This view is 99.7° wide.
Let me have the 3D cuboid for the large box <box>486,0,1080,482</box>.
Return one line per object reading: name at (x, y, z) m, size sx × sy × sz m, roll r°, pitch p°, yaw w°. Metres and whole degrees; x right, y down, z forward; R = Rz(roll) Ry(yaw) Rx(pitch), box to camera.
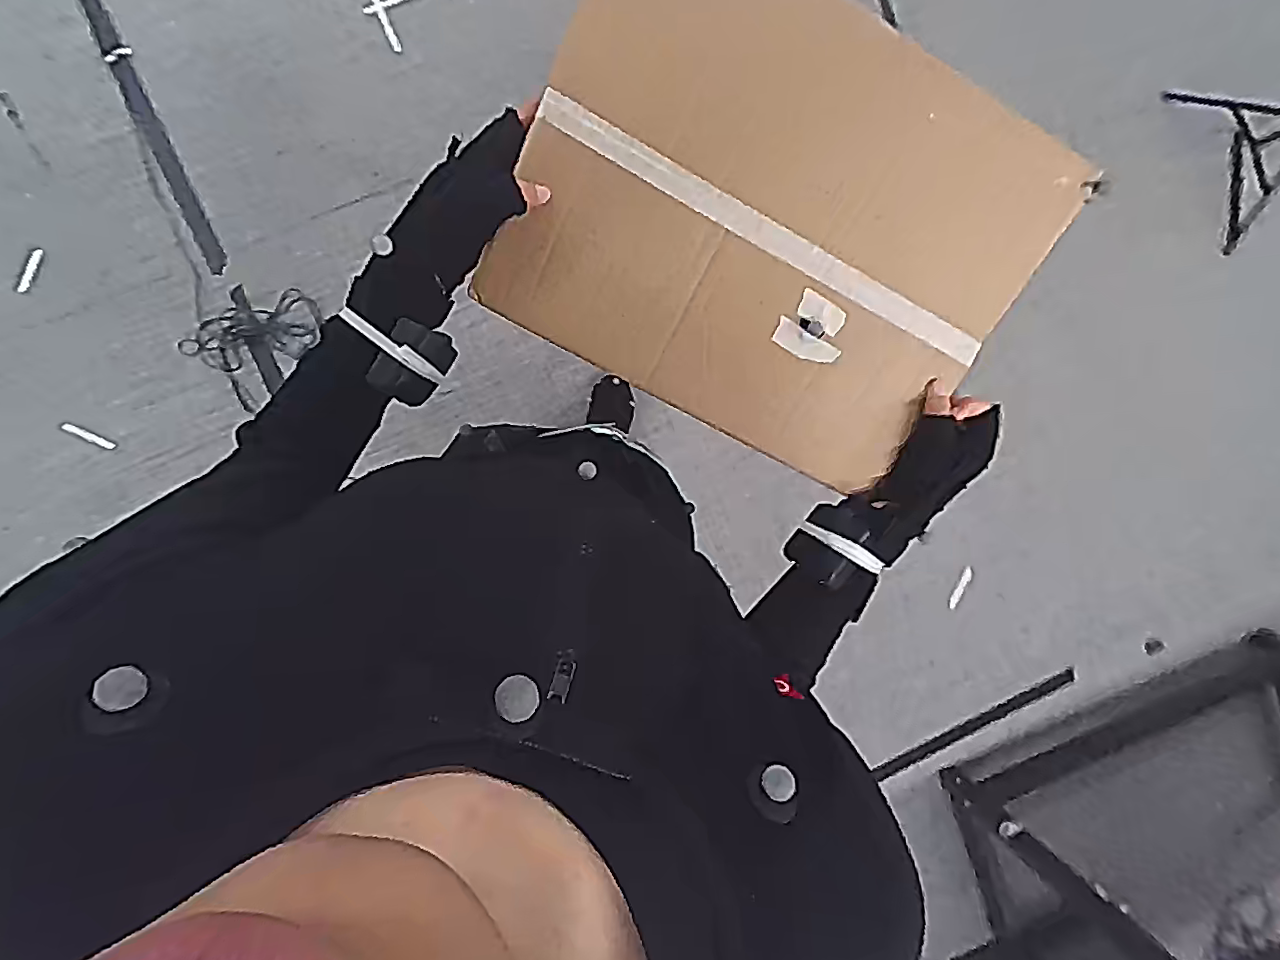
large box at (0.107, -0.256, 0.585) m, size 0.408 × 0.320 × 0.320 m, roll 26°, pitch 109°, yaw -10°
